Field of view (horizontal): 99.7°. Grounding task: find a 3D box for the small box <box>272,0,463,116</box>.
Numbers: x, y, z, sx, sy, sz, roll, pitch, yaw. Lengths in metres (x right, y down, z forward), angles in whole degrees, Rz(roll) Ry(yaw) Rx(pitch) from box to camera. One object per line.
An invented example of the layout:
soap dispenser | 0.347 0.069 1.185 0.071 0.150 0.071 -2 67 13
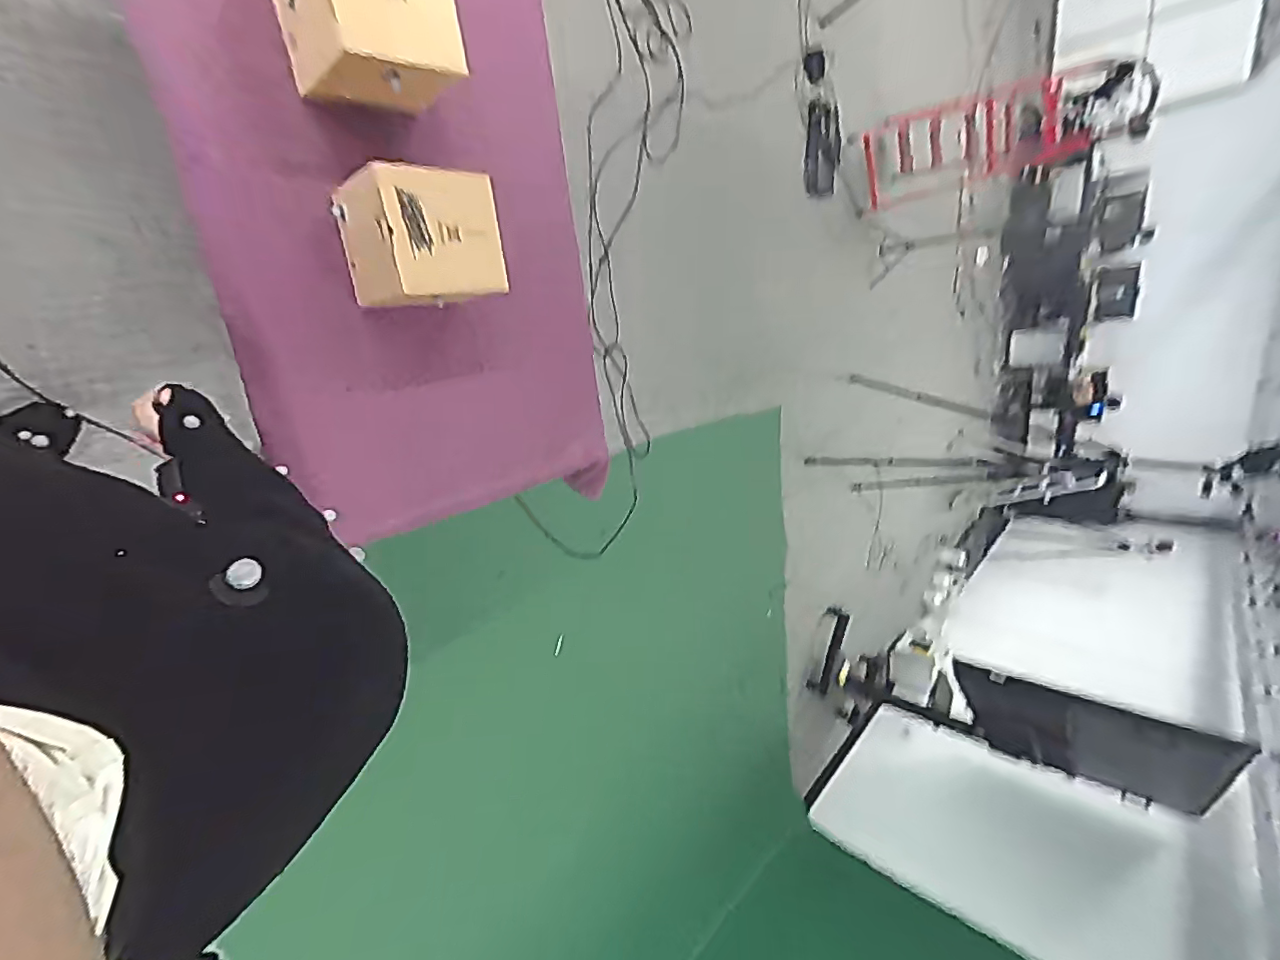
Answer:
small box | -0.379 -0.630 0.749 0.179 0.176 0.168 -25 114 -41

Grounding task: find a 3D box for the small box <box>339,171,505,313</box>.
small box | -0.340 -0.356 0.834 0.179 0.176 0.168 -23 111 -41
